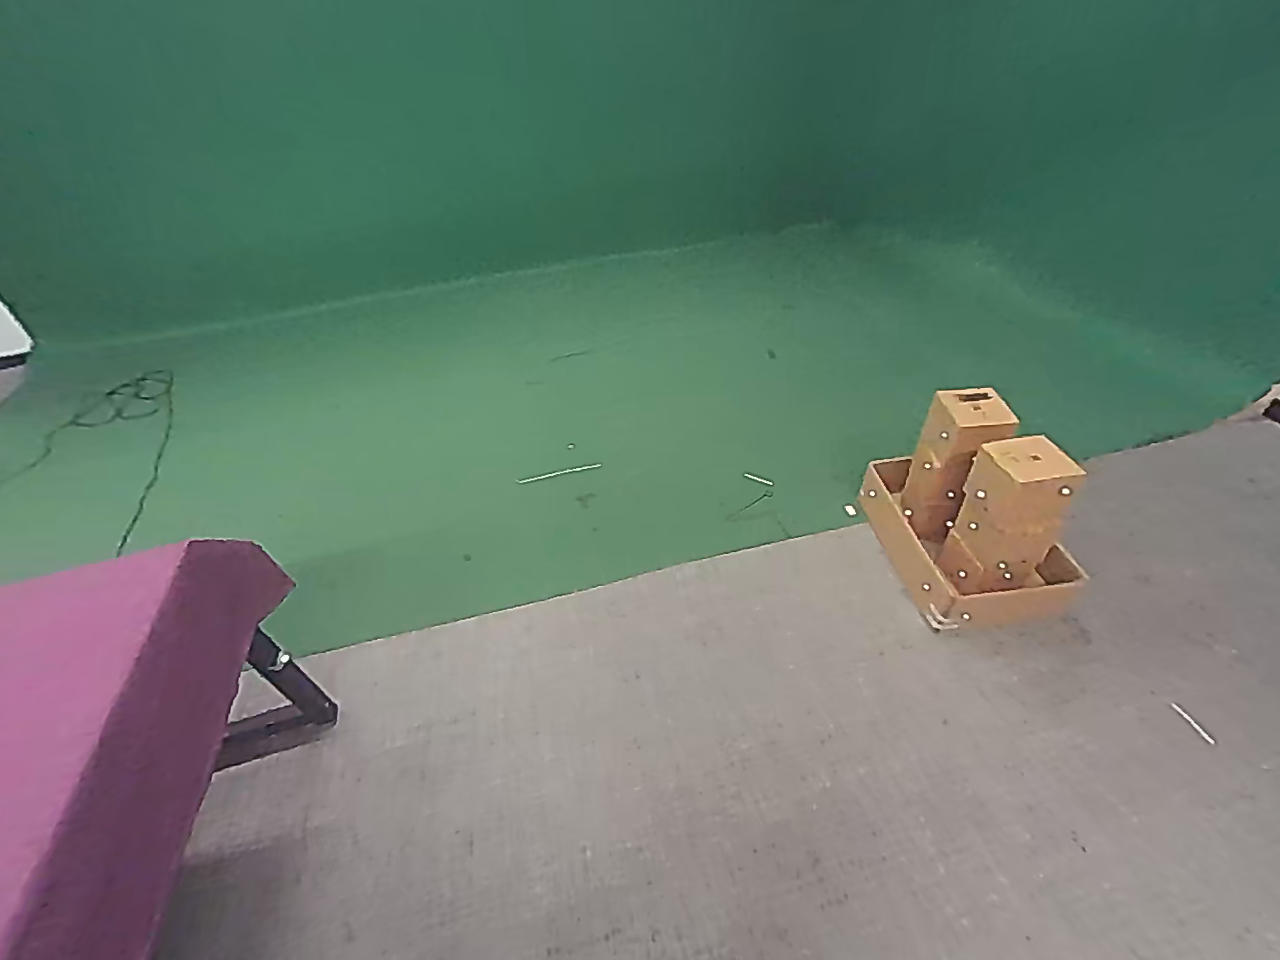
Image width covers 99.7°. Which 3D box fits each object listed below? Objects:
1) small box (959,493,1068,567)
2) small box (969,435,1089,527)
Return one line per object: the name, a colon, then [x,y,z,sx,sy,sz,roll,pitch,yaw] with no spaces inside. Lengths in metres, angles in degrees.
small box: [1.049,0.130,1.536,0.168,0.176,0.179,-9,40,0]
small box: [1.018,0.004,1.433,0.179,0.176,0.168,-9,40,0]
